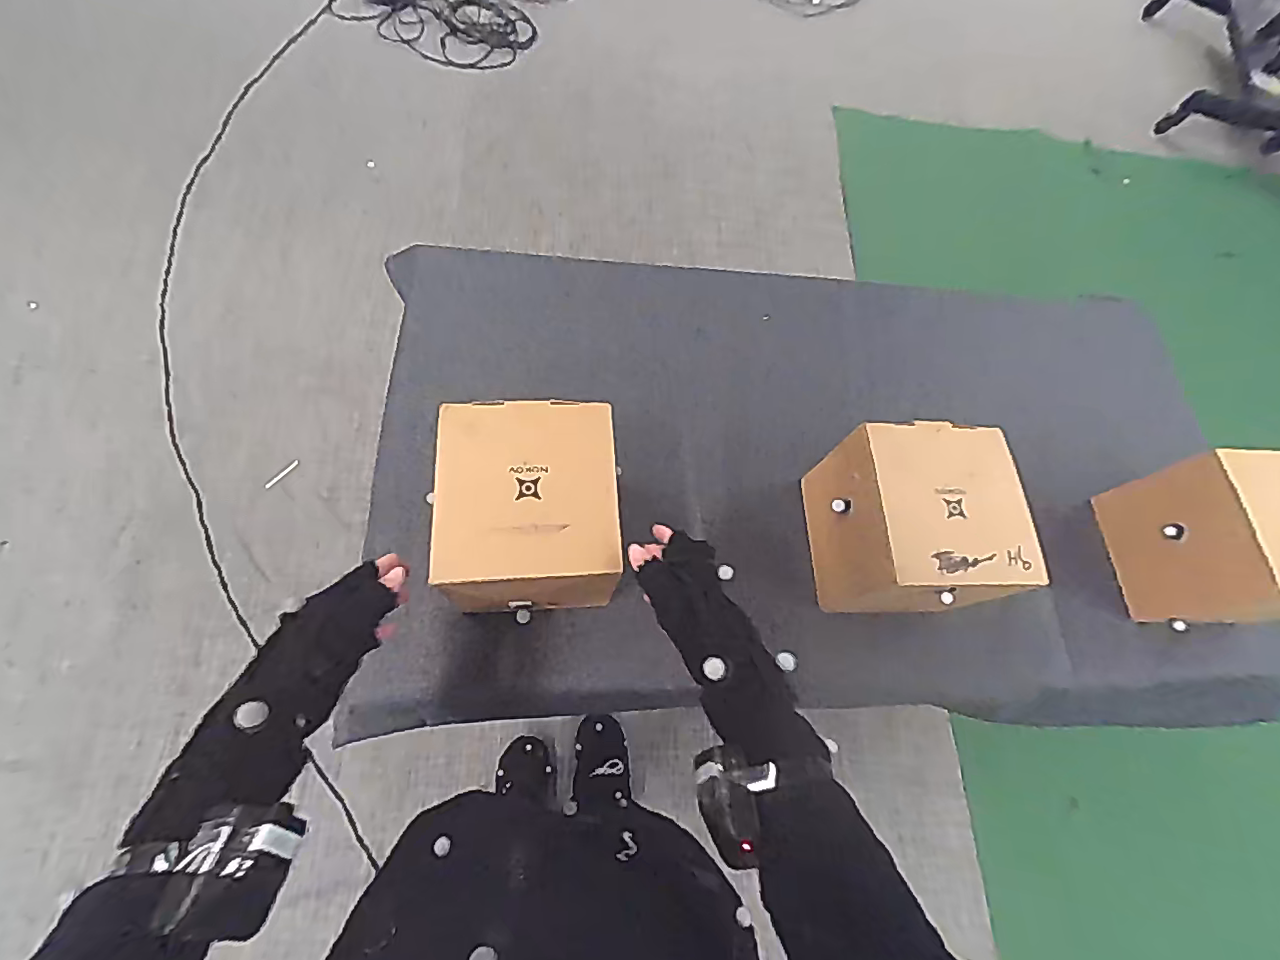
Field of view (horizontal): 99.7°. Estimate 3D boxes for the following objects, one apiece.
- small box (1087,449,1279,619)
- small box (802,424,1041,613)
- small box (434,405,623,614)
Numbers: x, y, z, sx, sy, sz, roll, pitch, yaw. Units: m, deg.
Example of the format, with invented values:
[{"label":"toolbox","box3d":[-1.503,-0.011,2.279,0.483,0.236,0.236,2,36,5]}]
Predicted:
[{"label":"small box","box3d":[0.729,0.077,0.683,0.168,0.176,0.179,2,66,-7]},{"label":"small box","box3d":[0.305,0.052,0.632,0.168,0.176,0.179,1,67,-8]},{"label":"small box","box3d":[-0.113,0.037,0.574,0.168,0.176,0.179,-2,68,-9]}]
